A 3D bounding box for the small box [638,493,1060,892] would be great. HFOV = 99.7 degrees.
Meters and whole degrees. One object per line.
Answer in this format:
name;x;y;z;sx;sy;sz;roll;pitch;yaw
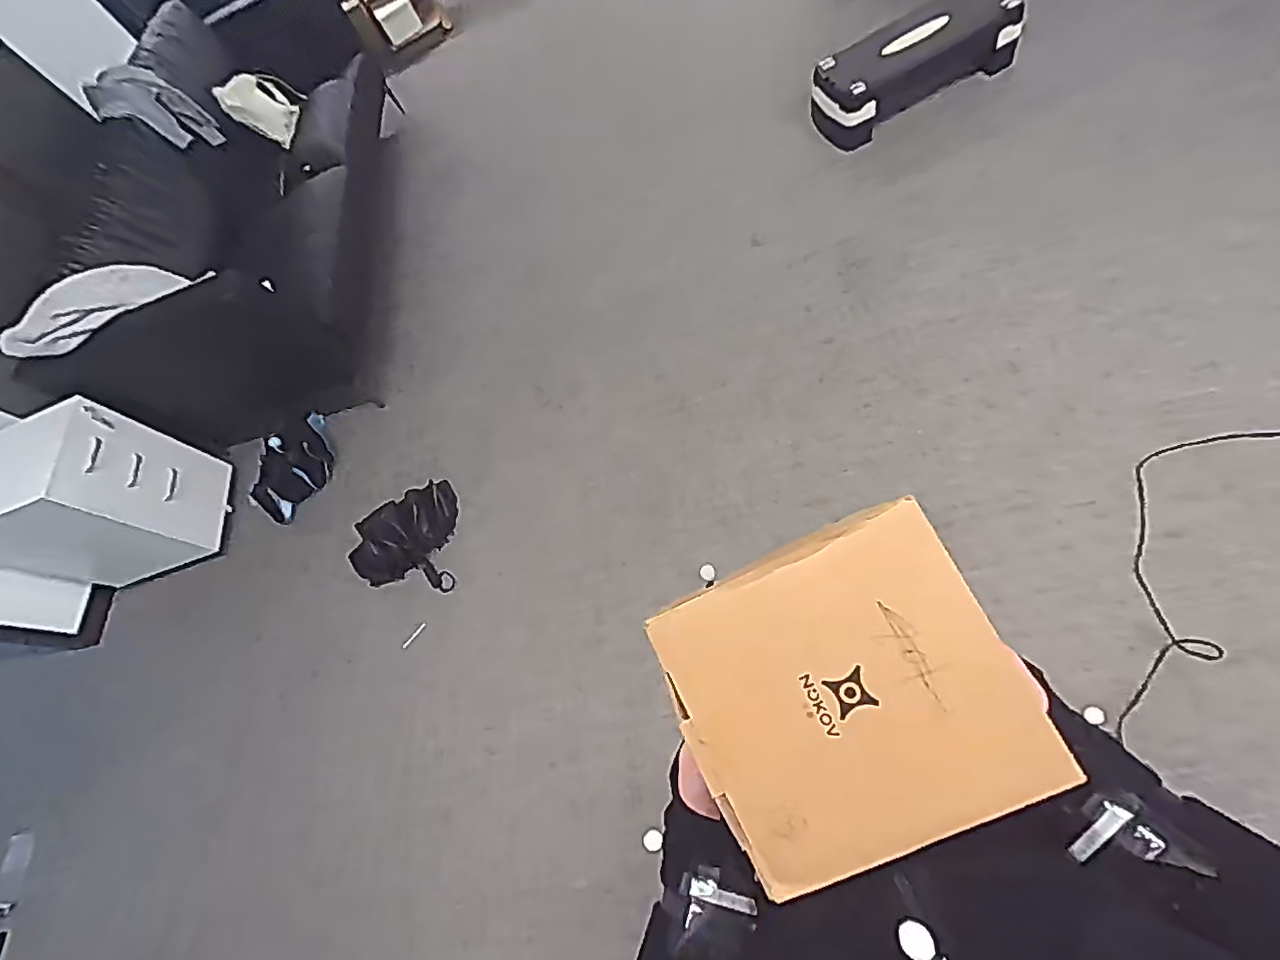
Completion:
small box;0.123;0.127;0.380;0.179;0.176;0.168;-28;79;6
